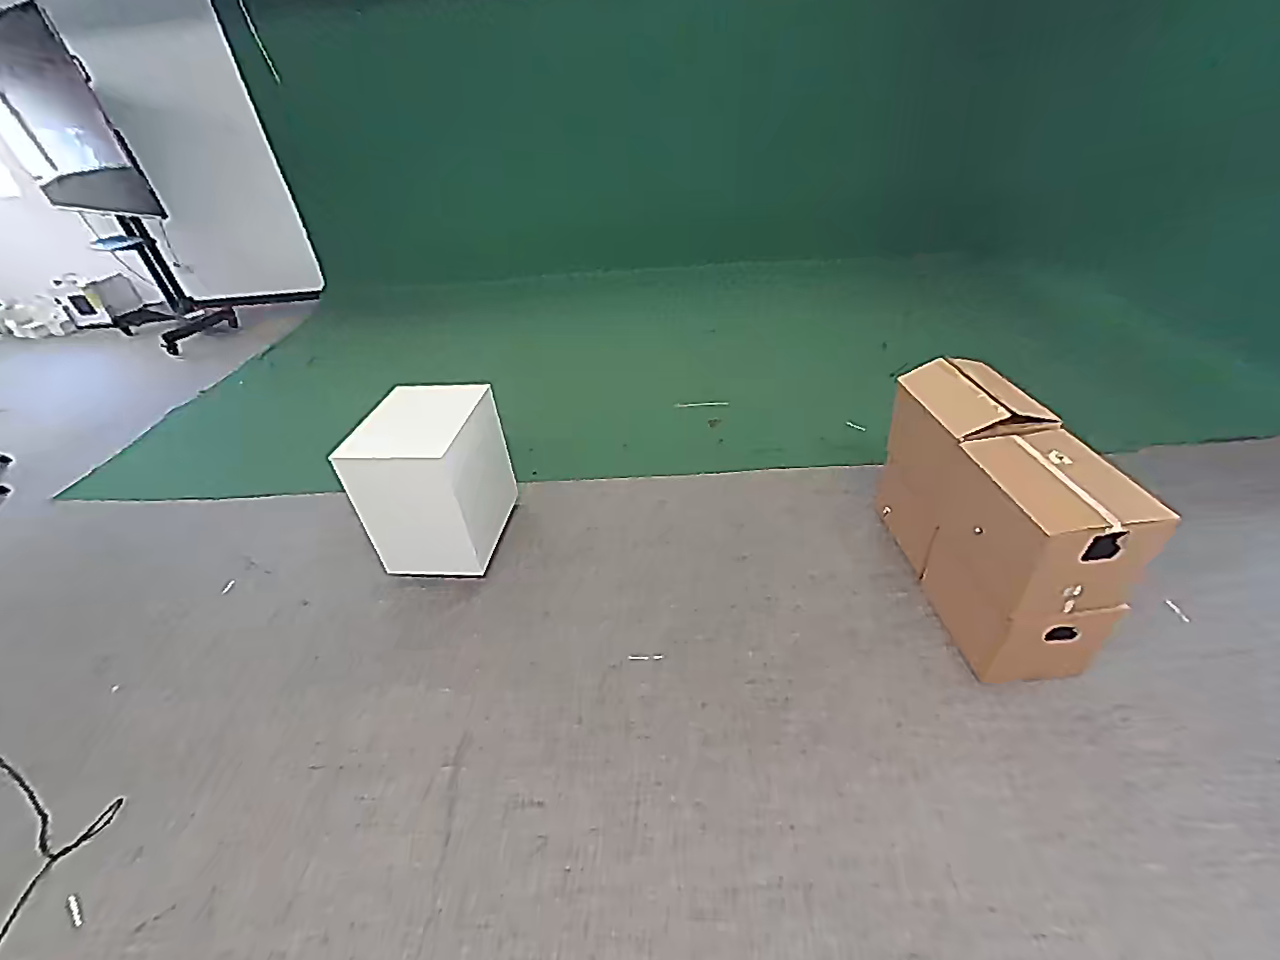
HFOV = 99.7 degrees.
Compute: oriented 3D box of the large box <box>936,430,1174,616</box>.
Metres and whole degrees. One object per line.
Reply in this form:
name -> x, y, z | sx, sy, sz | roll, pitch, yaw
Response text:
large box -> 1.100, 0.110, 1.503 | 0.320, 0.320, 0.408 | -7, 36, 1
